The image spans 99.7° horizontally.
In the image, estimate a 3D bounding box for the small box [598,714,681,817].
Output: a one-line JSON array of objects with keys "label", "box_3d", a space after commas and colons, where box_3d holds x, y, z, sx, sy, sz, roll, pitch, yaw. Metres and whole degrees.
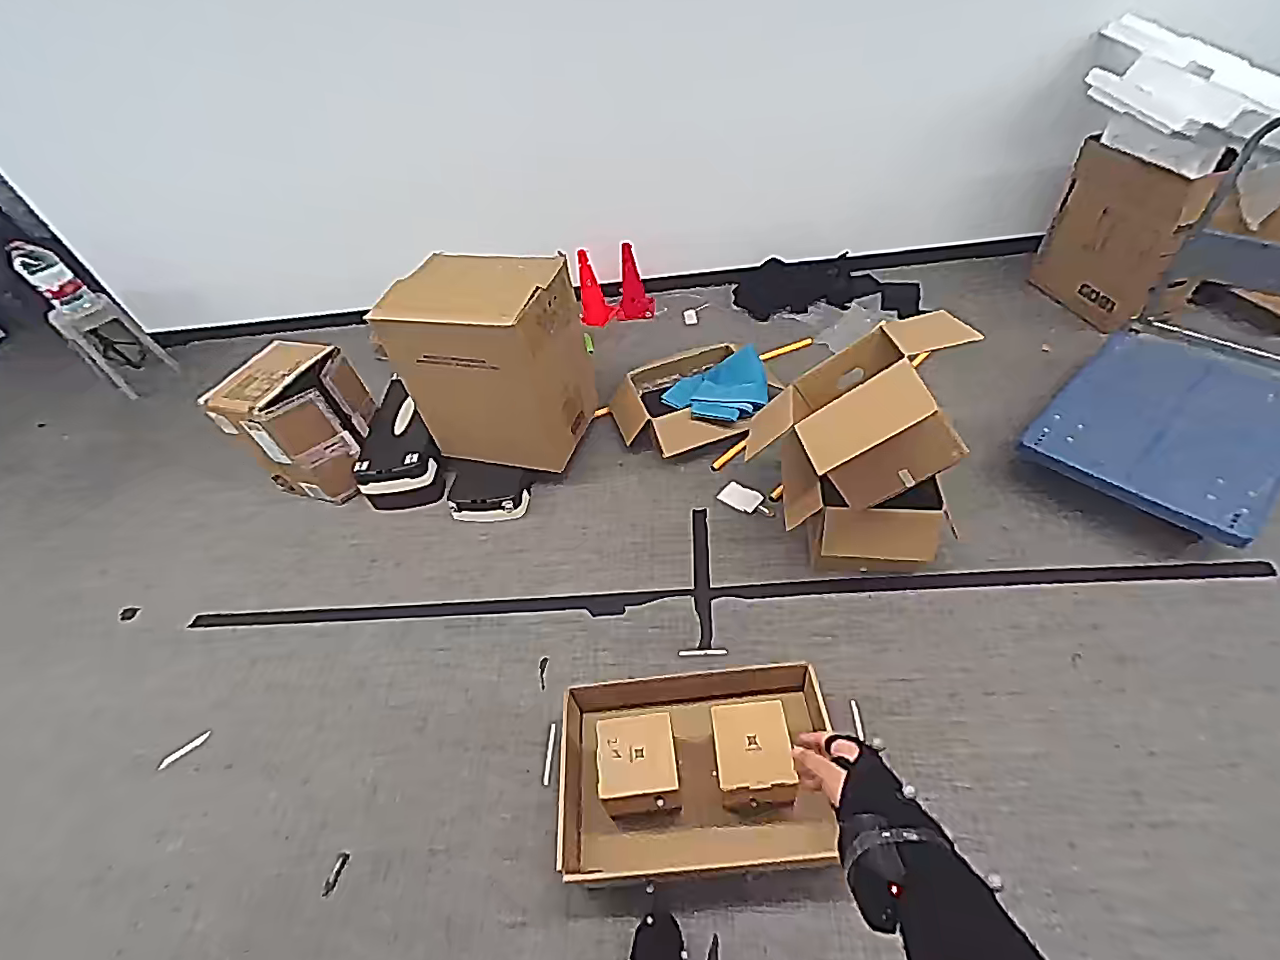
[{"label": "small box", "box_3d": [0.001, 0.664, 1.255, 0.179, 0.176, 0.168, -8, 46, 1]}]

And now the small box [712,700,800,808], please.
[{"label": "small box", "box_3d": [0.258, 0.631, 1.243, 0.168, 0.176, 0.179, -8, 47, 4]}]
